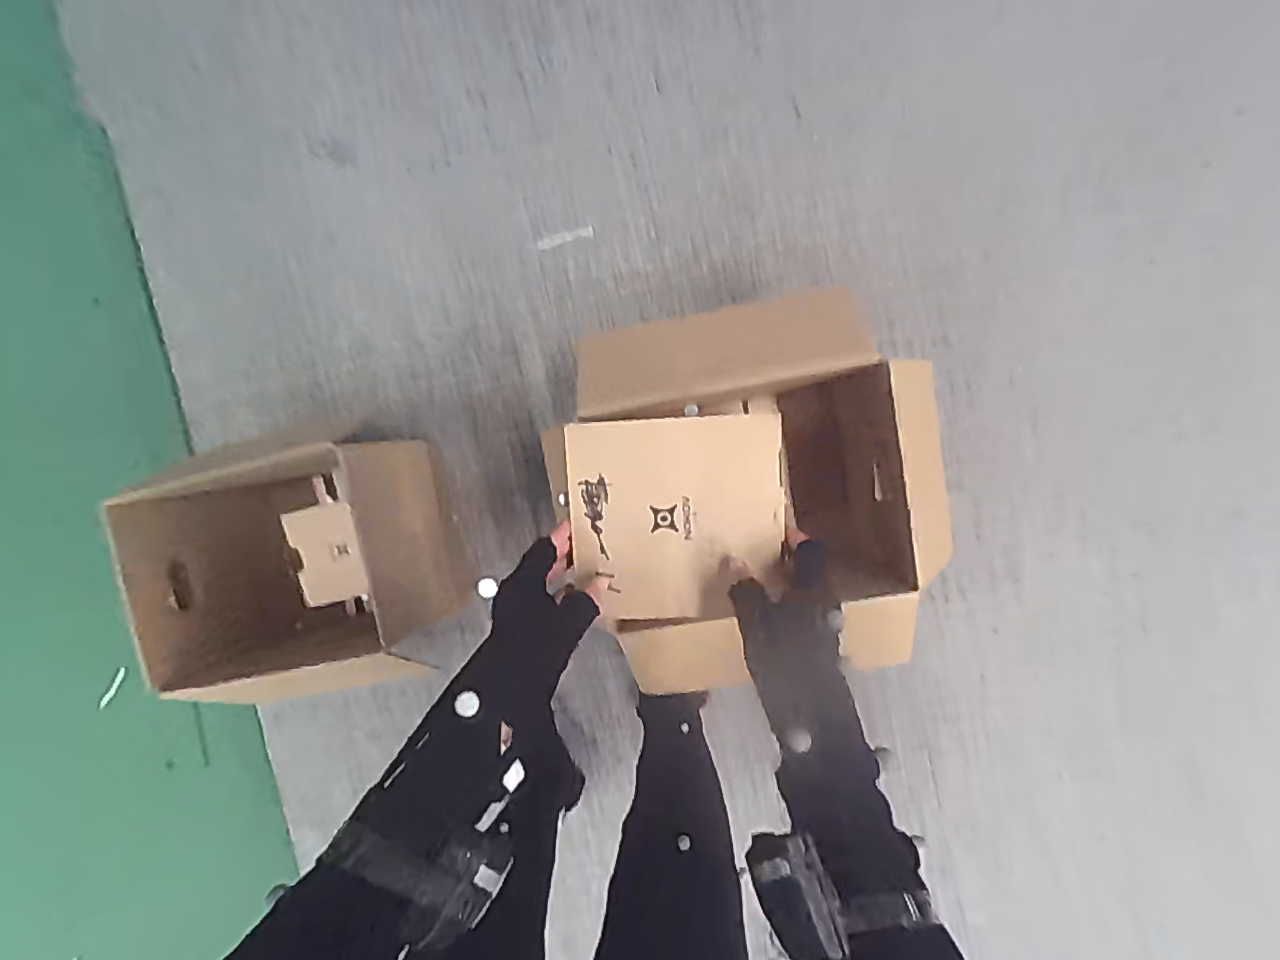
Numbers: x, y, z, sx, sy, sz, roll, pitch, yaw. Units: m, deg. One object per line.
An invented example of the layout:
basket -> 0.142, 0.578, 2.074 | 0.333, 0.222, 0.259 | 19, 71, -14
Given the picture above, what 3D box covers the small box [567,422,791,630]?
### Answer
small box -> 0.037, 0.031, 0.515 | 0.179, 0.176, 0.168 | -3, 95, 5
